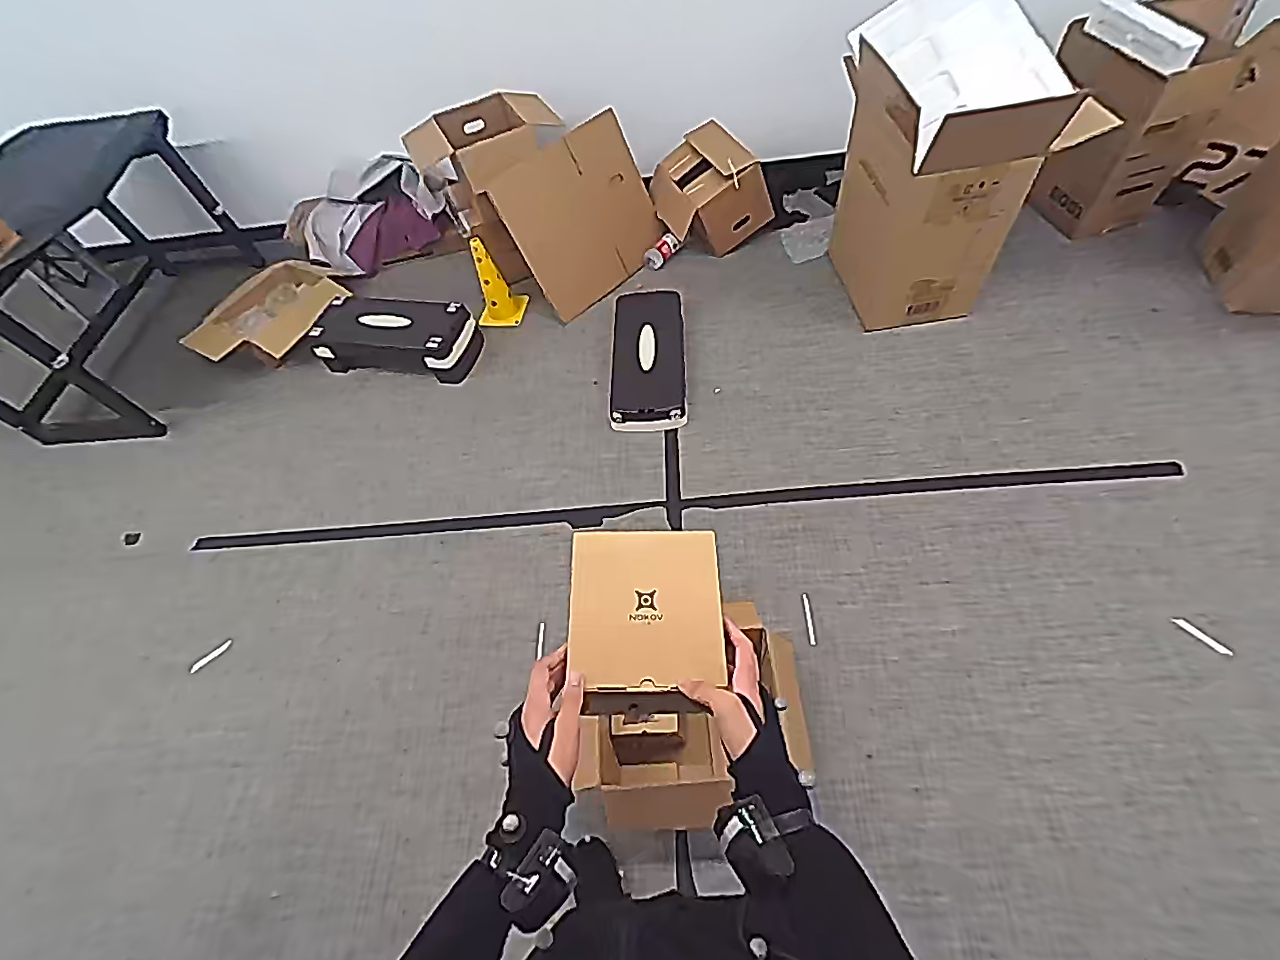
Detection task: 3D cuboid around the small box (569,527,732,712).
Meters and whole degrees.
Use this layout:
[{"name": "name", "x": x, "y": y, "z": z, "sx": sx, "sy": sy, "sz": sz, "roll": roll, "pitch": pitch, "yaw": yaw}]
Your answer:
[{"name": "small box", "x": 0.008, "y": 0.170, "z": 0.644, "sx": 0.168, "sy": 0.176, "sz": 0.179, "roll": 0, "pitch": 59, "yaw": -1}]
